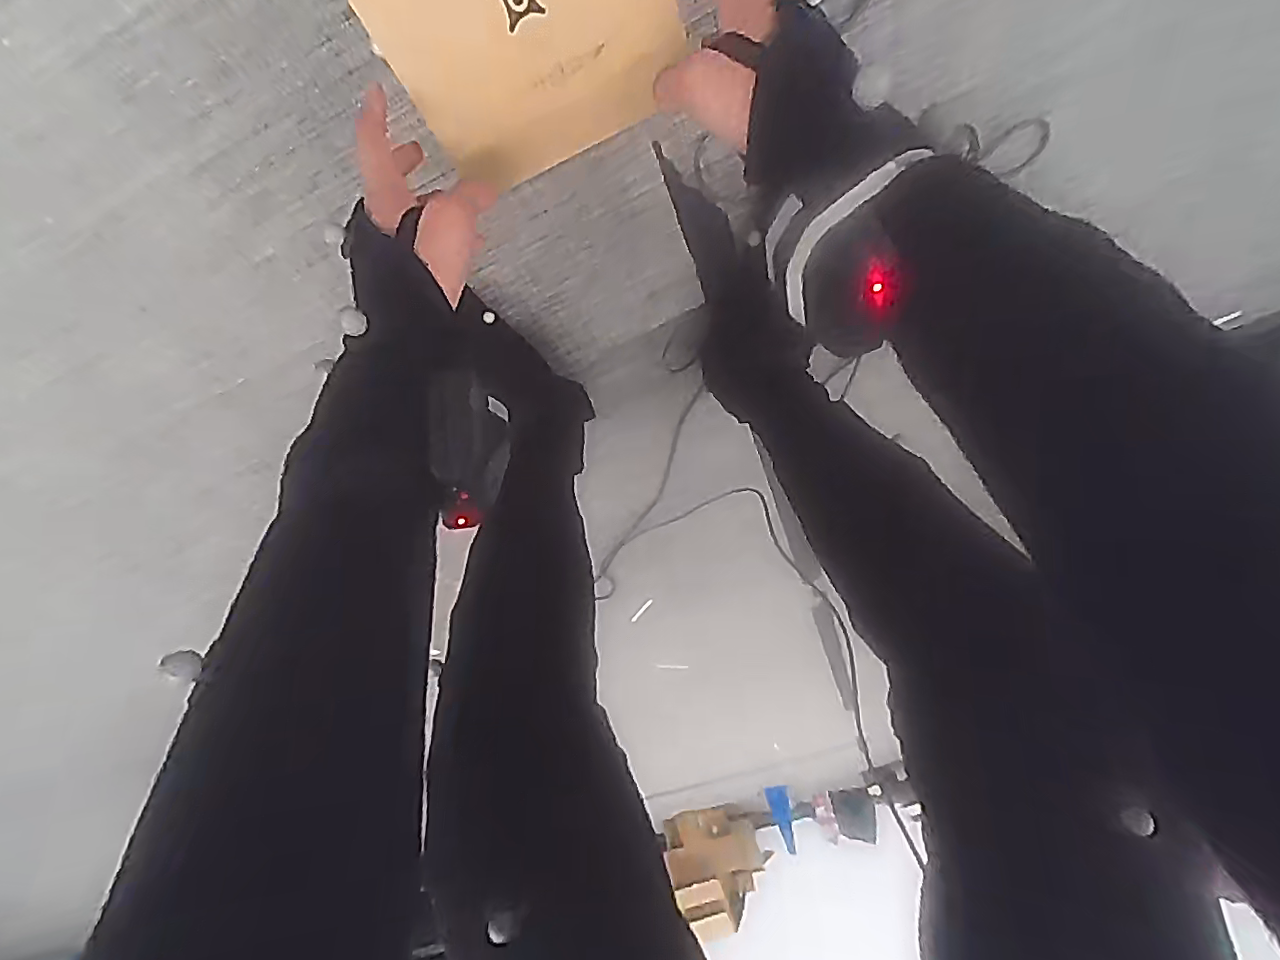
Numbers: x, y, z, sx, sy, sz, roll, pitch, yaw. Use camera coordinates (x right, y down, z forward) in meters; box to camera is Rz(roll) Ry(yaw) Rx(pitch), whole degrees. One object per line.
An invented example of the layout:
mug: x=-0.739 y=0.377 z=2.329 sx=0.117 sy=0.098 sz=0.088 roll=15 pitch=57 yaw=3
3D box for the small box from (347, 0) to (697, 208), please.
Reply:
small box: x=-0.080 y=-0.322 z=0.345 sx=0.168 sy=0.176 sz=0.179 roll=-20 pitch=140 yaw=11
